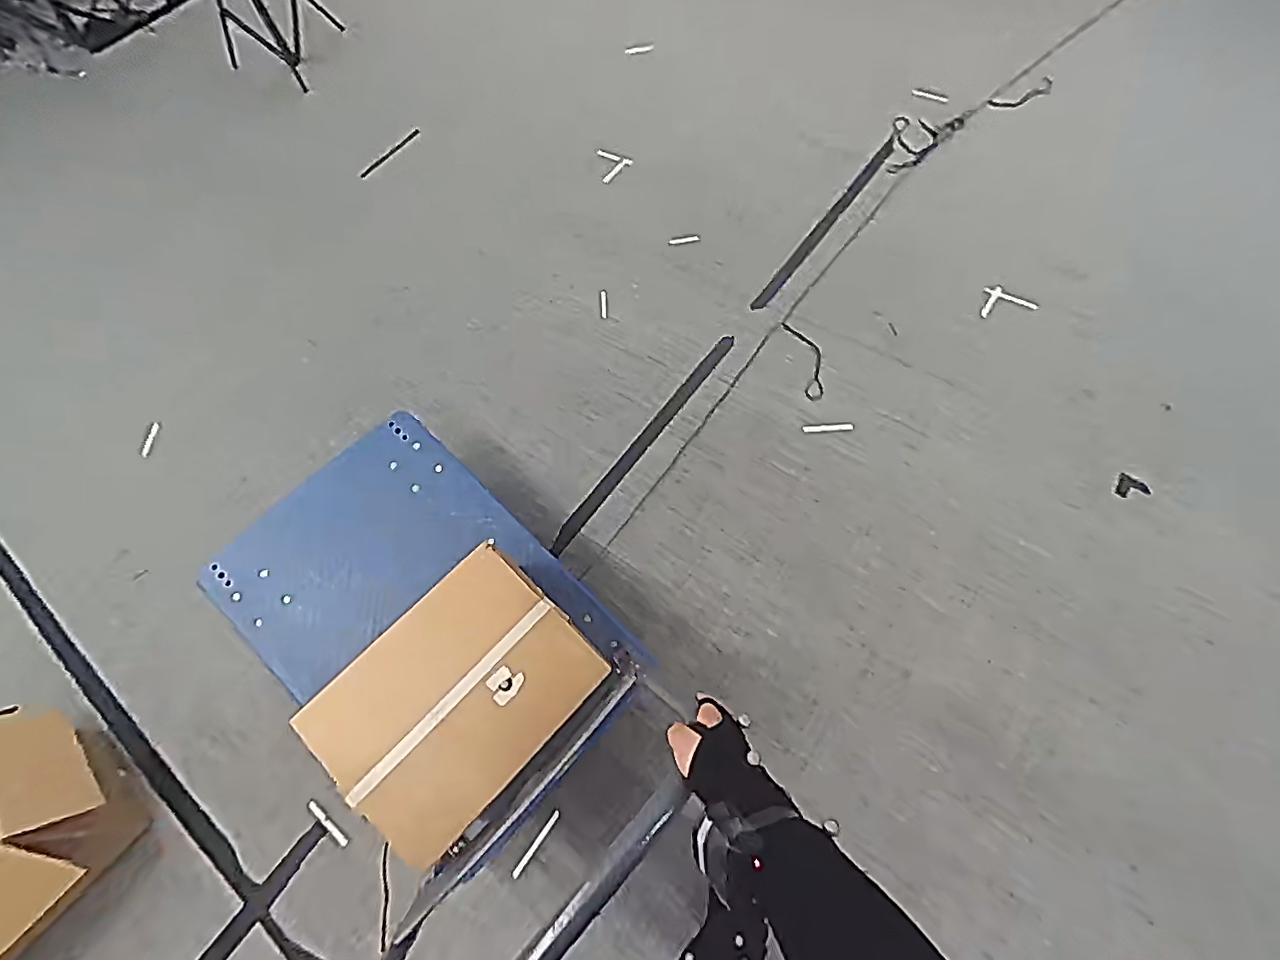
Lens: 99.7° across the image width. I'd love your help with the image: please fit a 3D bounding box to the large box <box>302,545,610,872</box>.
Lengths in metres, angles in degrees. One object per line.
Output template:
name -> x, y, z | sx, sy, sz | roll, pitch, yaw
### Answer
large box -> -0.303, 0.396, 1.017 | 0.320, 0.320, 0.408 | 43, 74, 8
